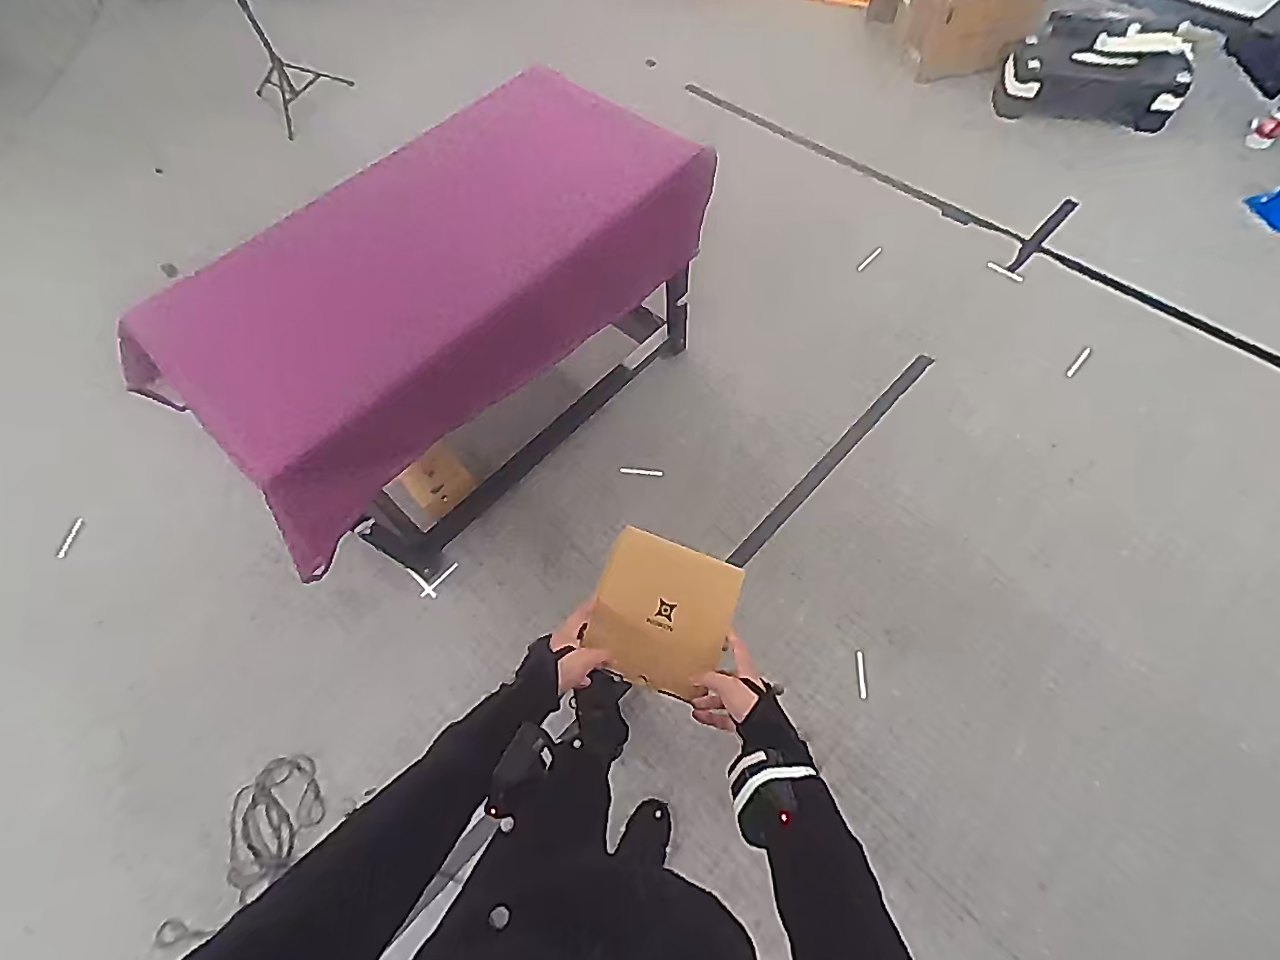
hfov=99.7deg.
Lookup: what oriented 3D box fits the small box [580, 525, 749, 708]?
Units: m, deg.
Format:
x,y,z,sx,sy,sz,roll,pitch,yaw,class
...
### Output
x,y,z,sx,sy,sz,roll,pitch,yaw,class
0.023,0.182,0.736,0.168,0.176,0.179,23,74,-2,small box
